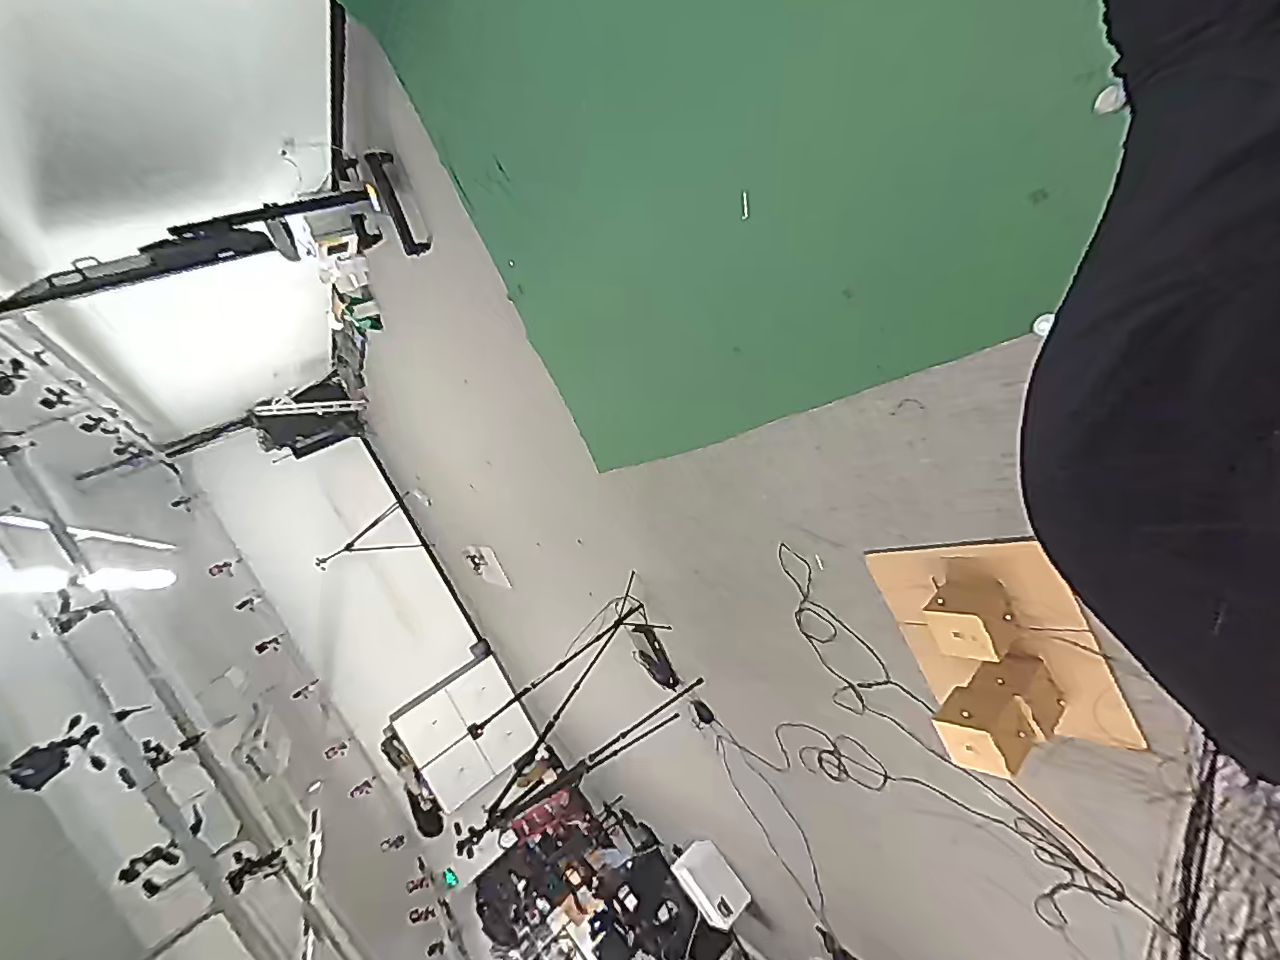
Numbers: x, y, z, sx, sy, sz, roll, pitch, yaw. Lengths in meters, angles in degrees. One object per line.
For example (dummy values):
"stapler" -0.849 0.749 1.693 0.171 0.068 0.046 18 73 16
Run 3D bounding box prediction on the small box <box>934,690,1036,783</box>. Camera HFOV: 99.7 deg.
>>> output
"small box" 1.028 0.753 1.609 0.168 0.176 0.179 62 150 -4

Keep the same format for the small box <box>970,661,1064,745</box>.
"small box" 1.164 0.679 1.667 0.168 0.176 0.179 60 150 -2

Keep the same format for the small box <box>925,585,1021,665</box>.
"small box" 1.025 0.437 1.663 0.179 0.176 0.168 -14 106 58
